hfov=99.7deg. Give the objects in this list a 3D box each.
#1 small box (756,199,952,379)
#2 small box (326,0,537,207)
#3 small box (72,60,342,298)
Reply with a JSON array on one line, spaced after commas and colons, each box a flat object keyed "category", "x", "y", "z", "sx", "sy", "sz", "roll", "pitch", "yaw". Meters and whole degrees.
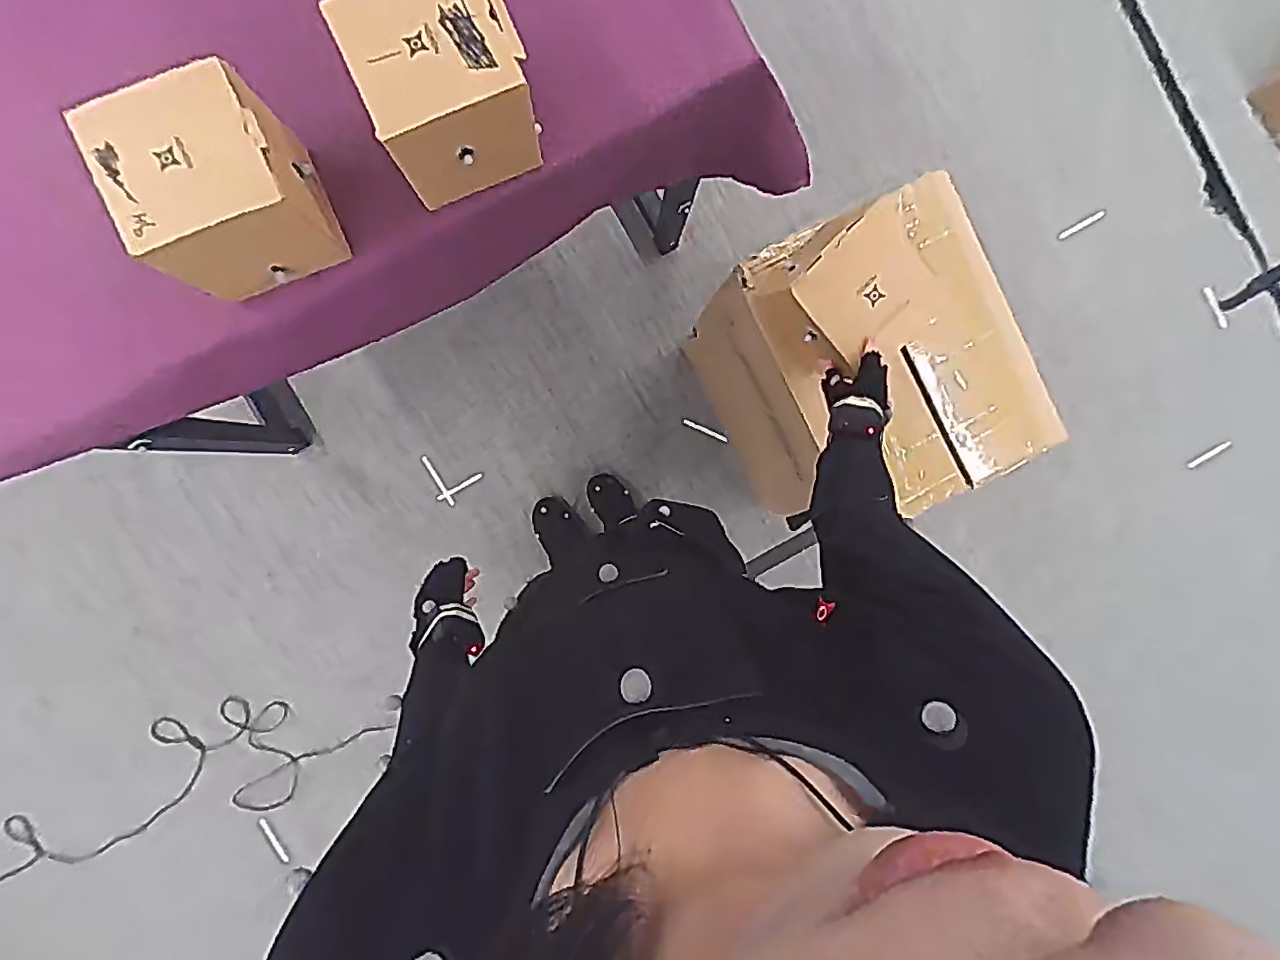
[{"category": "small box", "x": 0.303, "y": -0.271, "z": 0.803, "sx": 0.179, "sy": 0.176, "sz": 0.168, "roll": 43, "pitch": 97, "yaw": -15}, {"category": "small box", "x": -0.240, "y": -0.482, "z": 0.677, "sx": 0.179, "sy": 0.176, "sz": 0.168, "roll": -24, "pitch": 92, "yaw": -3}, {"category": "small box", "x": -0.499, "y": -0.349, "z": 0.661, "sx": 0.179, "sy": 0.176, "sz": 0.168, "roll": -23, "pitch": 92, "yaw": -4}]
